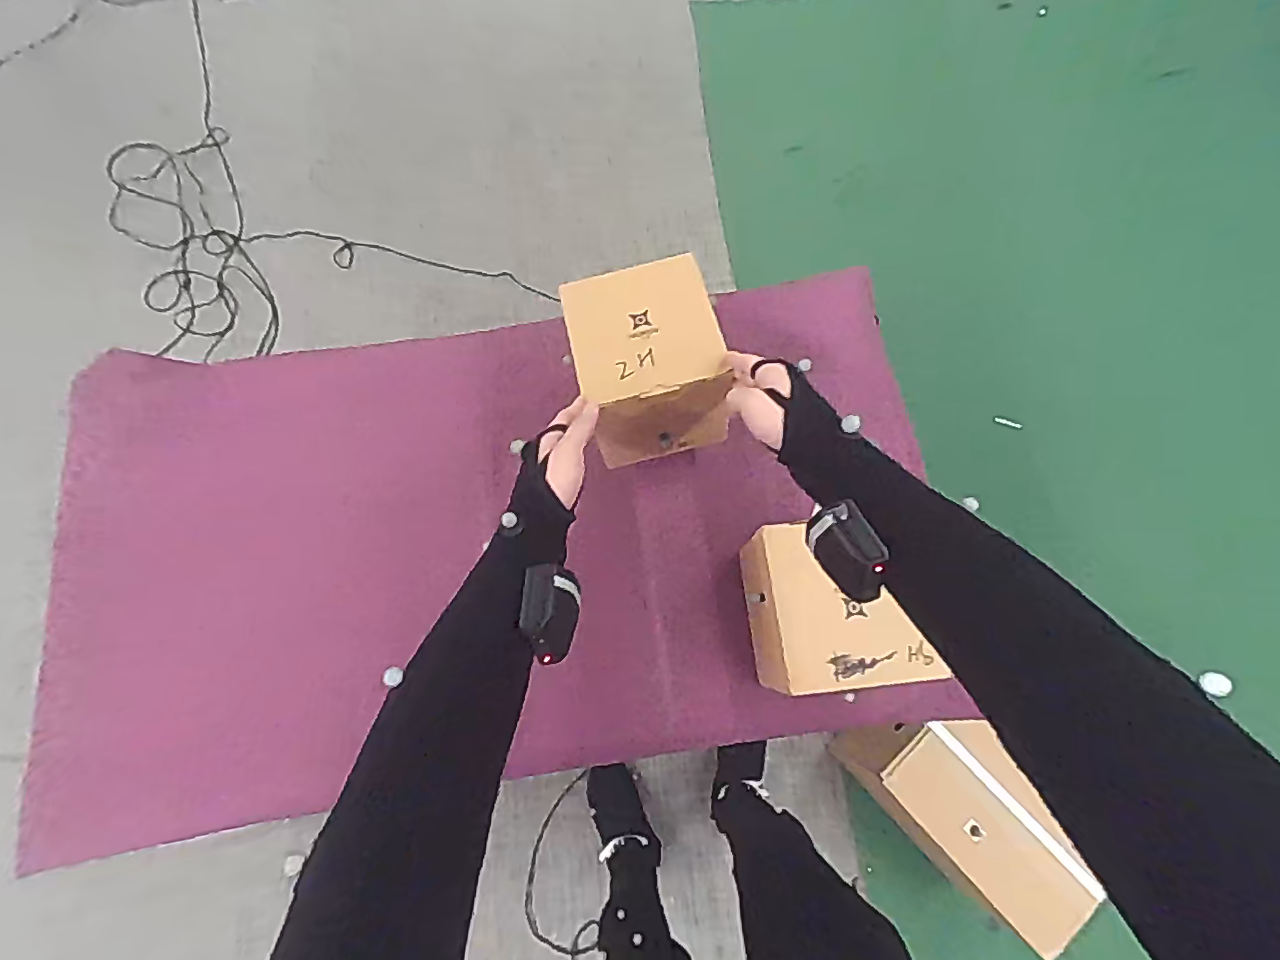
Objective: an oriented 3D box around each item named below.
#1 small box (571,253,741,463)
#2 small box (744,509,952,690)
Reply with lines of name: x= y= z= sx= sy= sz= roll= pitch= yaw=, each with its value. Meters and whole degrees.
small box: x=0.021 y=-0.145 z=0.681 sx=0.168 sy=0.176 sz=0.179 roll=-14 pitch=68 yaw=2
small box: x=0.224 y=0.146 z=0.638 sx=0.168 sy=0.176 sz=0.179 roll=-6 pitch=72 yaw=1
